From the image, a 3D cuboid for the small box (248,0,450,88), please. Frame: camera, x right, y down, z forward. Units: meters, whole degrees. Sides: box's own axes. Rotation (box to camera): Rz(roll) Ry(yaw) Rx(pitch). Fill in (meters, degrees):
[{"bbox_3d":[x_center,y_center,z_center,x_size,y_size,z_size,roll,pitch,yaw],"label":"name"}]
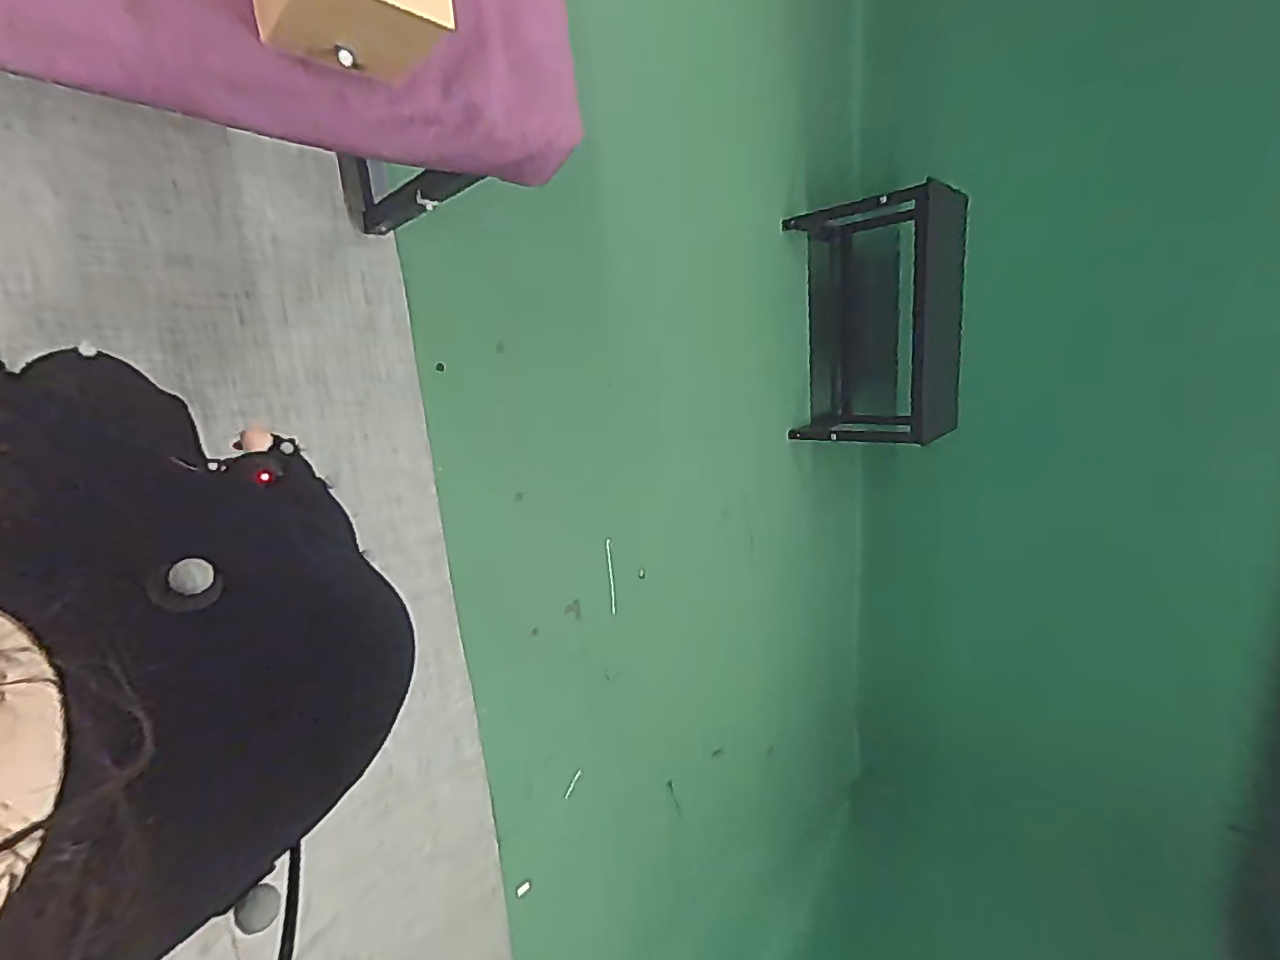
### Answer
[{"bbox_3d":[-0.349,-0.607,0.629,0.168,0.176,0.179,-17,107,-45],"label":"small box"}]
